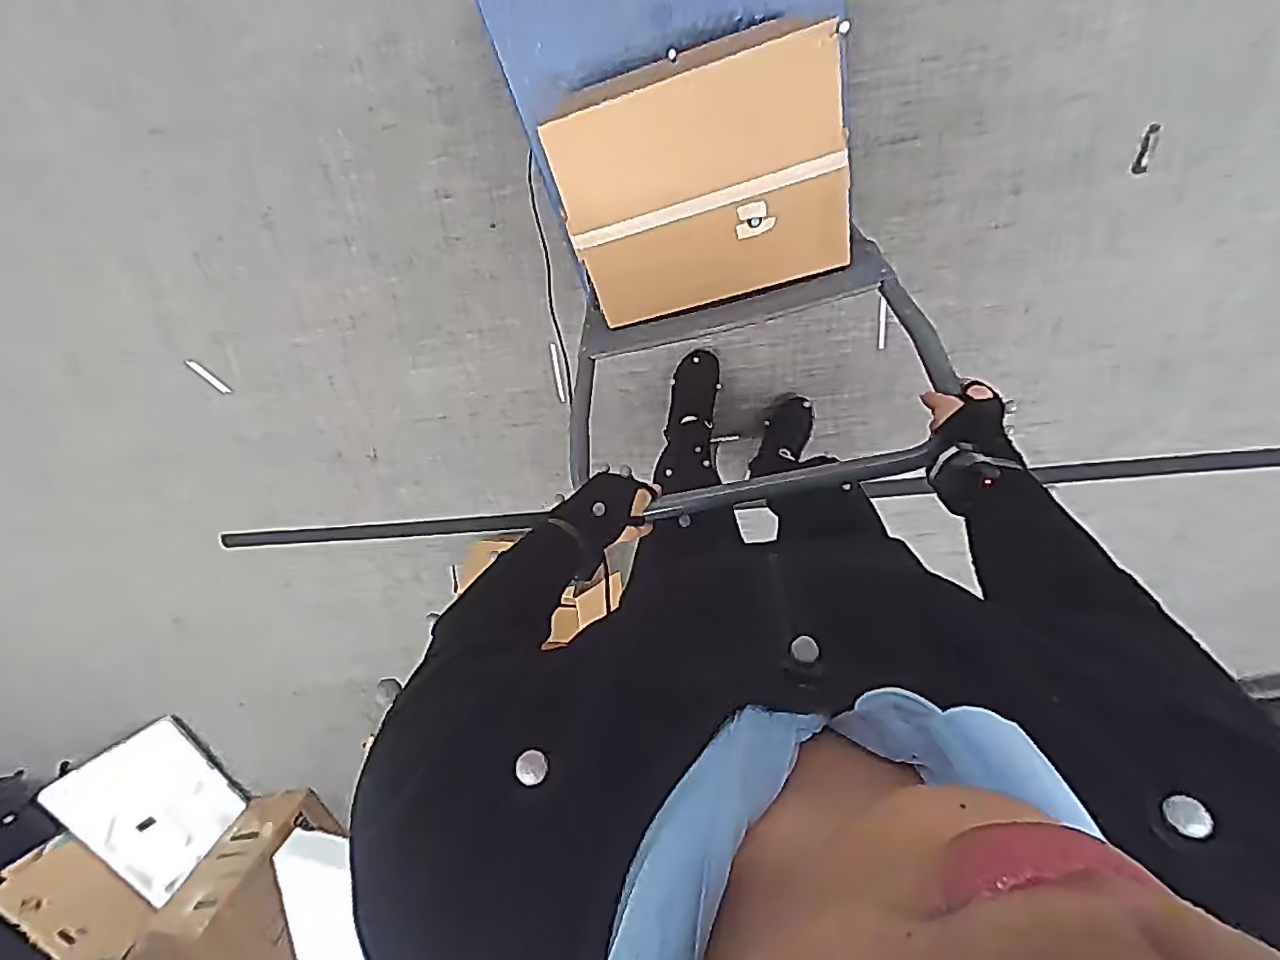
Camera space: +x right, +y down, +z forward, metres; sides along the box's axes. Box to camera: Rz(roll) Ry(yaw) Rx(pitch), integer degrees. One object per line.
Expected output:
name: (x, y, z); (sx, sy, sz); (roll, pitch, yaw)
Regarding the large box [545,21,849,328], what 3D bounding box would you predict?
large box: (0.099, -0.512, 0.917); (0.408, 0.320, 0.320); (-13, 131, 12)
